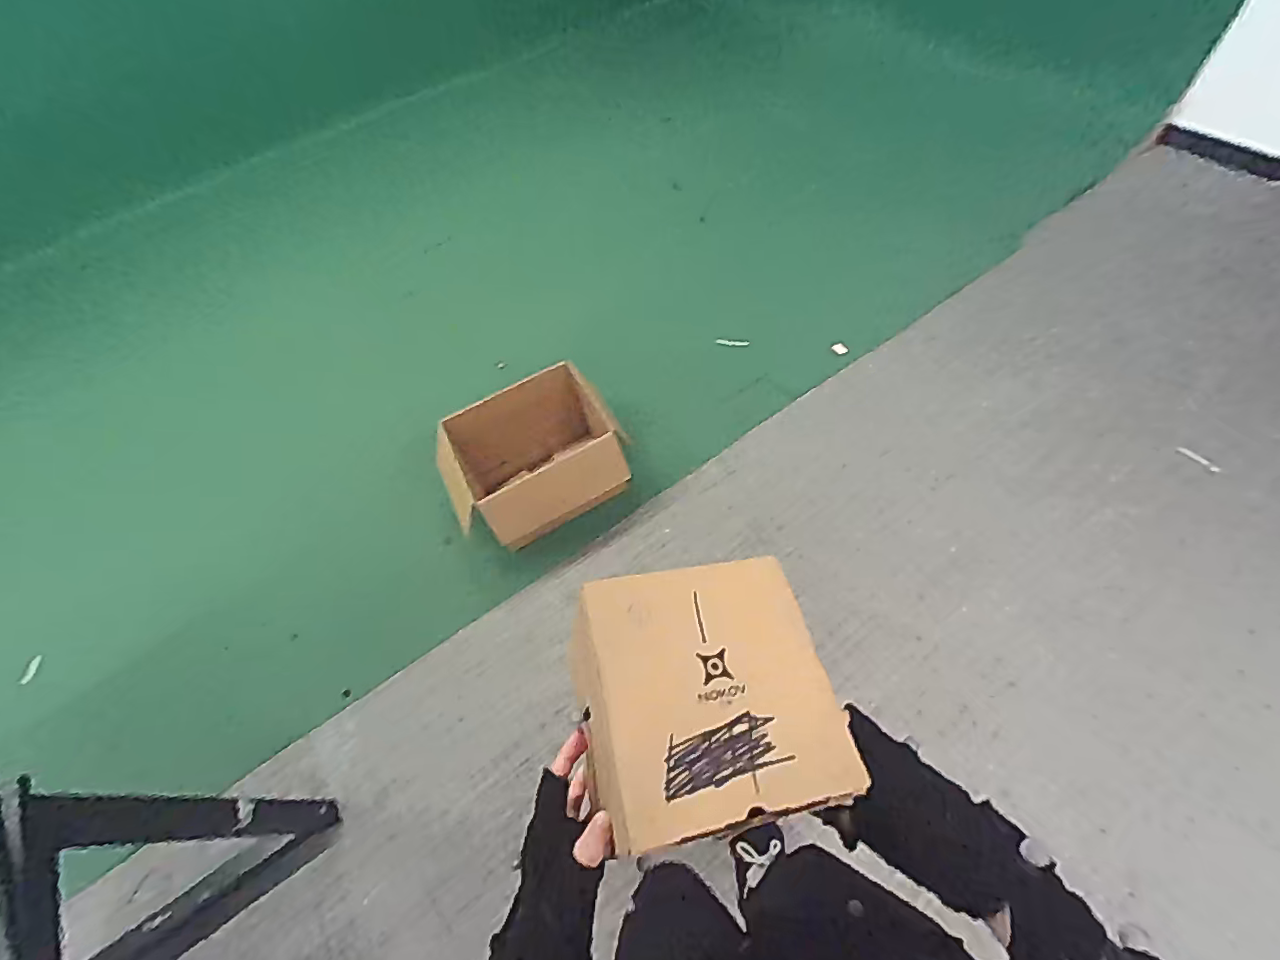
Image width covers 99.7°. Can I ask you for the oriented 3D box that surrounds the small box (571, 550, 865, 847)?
[{"bbox_3d":[0.040,0.180,0.442,0.168,0.176,0.179,-5,55,-16],"label":"small box"}]
